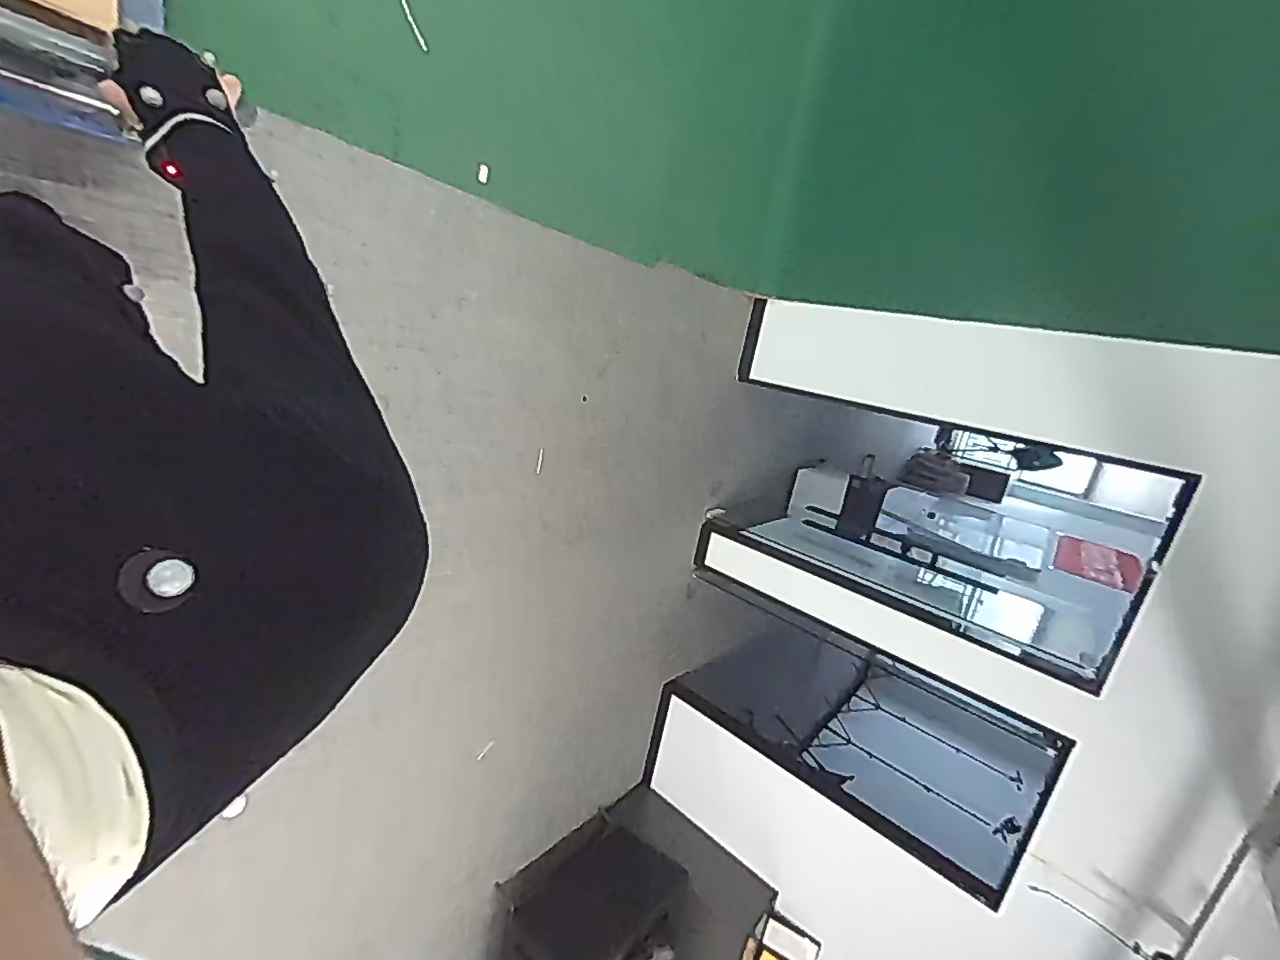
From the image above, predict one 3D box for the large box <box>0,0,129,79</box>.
[{"bbox_3d":[-0.891,-0.822,0.681,0.320,0.320,0.408,-6,111,-51],"label":"large box"}]
